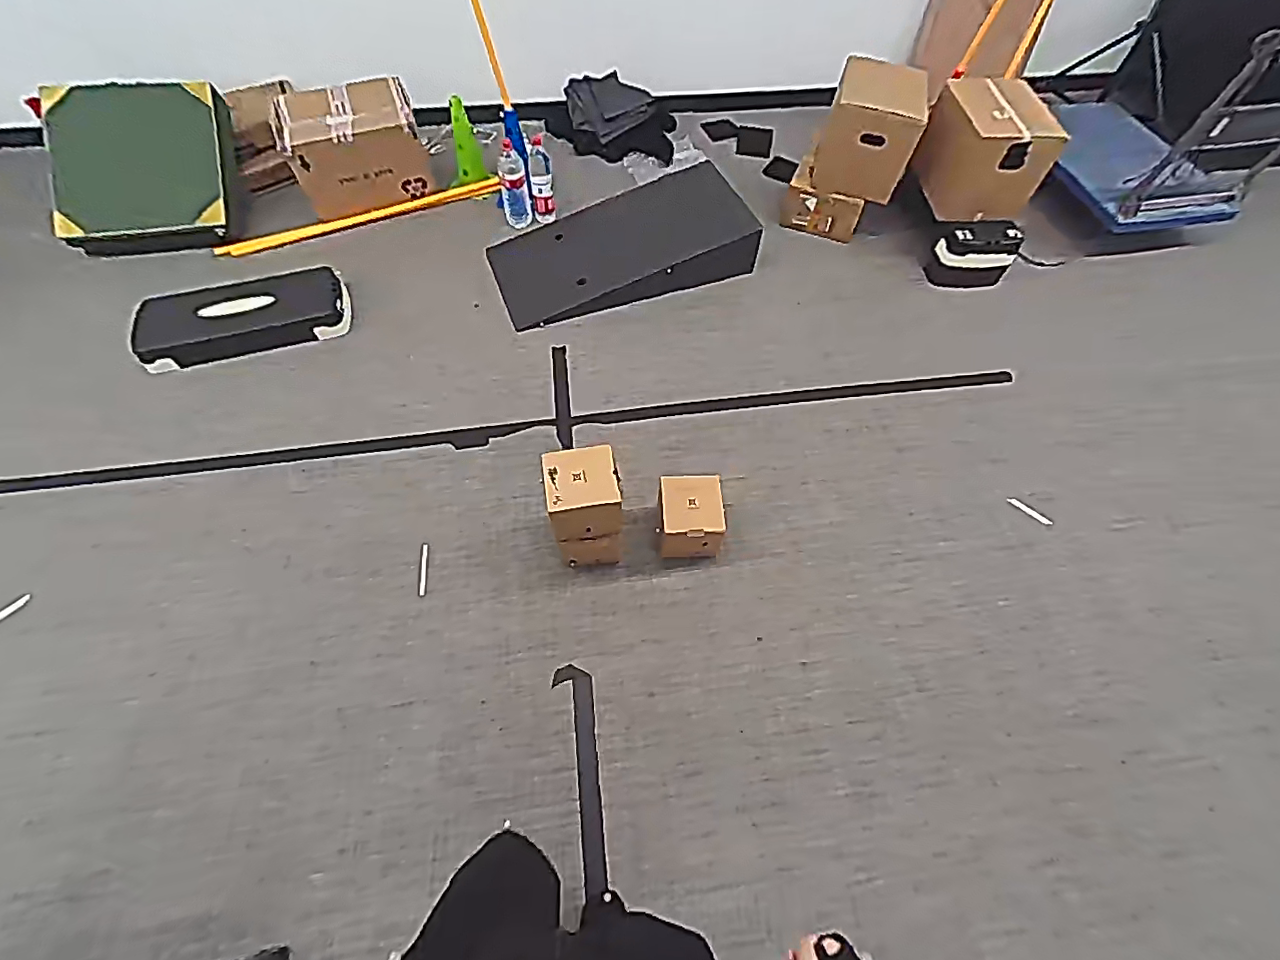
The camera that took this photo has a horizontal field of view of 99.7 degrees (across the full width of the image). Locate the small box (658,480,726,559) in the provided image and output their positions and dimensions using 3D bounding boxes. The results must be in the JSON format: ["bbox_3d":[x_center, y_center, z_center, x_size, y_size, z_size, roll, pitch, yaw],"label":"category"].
[{"bbox_3d":[0.141,0.116,1.519,0.168,0.176,0.179,-1,59,-3],"label":"small box"}]

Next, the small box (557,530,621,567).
[{"bbox_3d":[-0.141,0.133,1.496,0.168,0.176,0.179,-4,59,-5],"label":"small box"}]

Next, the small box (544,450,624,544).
[{"bbox_3d":[-0.141,0.046,1.357,0.179,0.176,0.168,-7,59,-7],"label":"small box"}]
